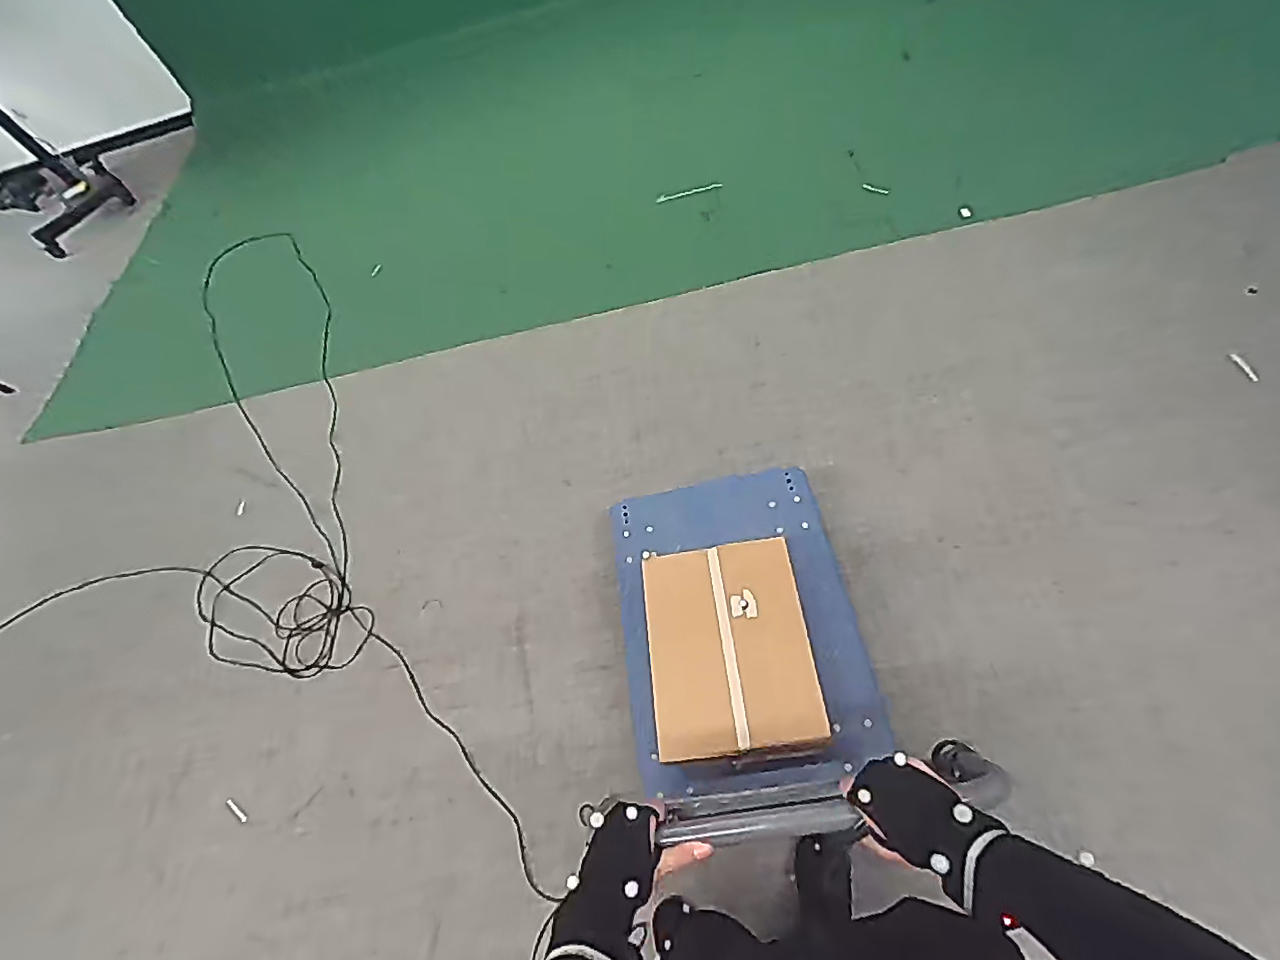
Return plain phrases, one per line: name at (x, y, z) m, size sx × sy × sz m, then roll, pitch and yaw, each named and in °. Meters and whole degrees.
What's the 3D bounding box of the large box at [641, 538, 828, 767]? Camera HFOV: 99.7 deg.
large box at (0.198, 0.392, 1.201) m, size 0.320 × 0.320 × 0.408 m, roll -9°, pitch 59°, yaw 7°
